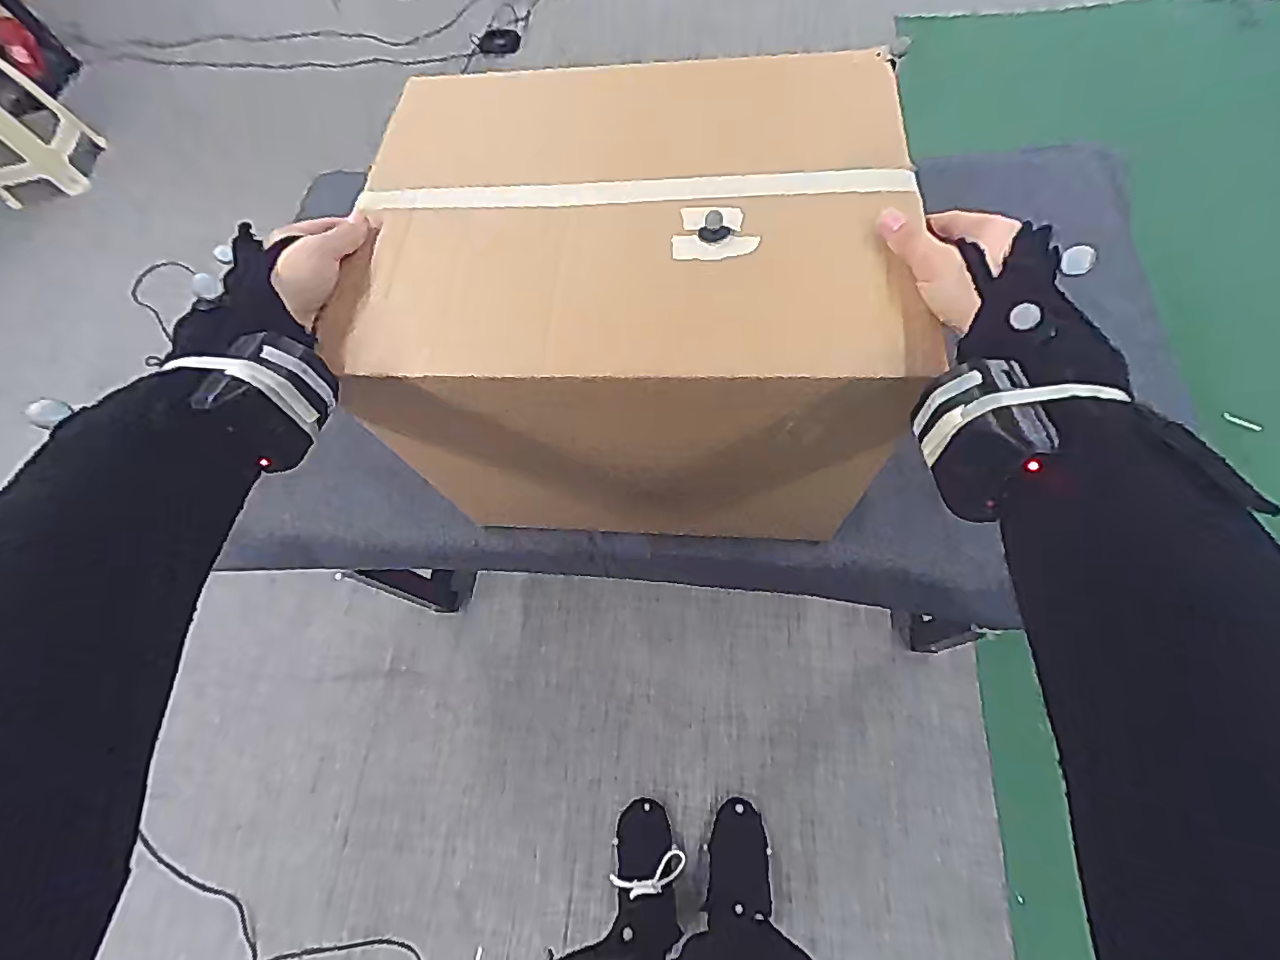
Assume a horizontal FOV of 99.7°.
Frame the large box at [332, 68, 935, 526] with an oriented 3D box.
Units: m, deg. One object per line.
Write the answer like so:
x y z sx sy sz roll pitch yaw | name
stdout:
0.003 -0.147 0.544 0.408 0.320 0.320 1 67 6 | large box
